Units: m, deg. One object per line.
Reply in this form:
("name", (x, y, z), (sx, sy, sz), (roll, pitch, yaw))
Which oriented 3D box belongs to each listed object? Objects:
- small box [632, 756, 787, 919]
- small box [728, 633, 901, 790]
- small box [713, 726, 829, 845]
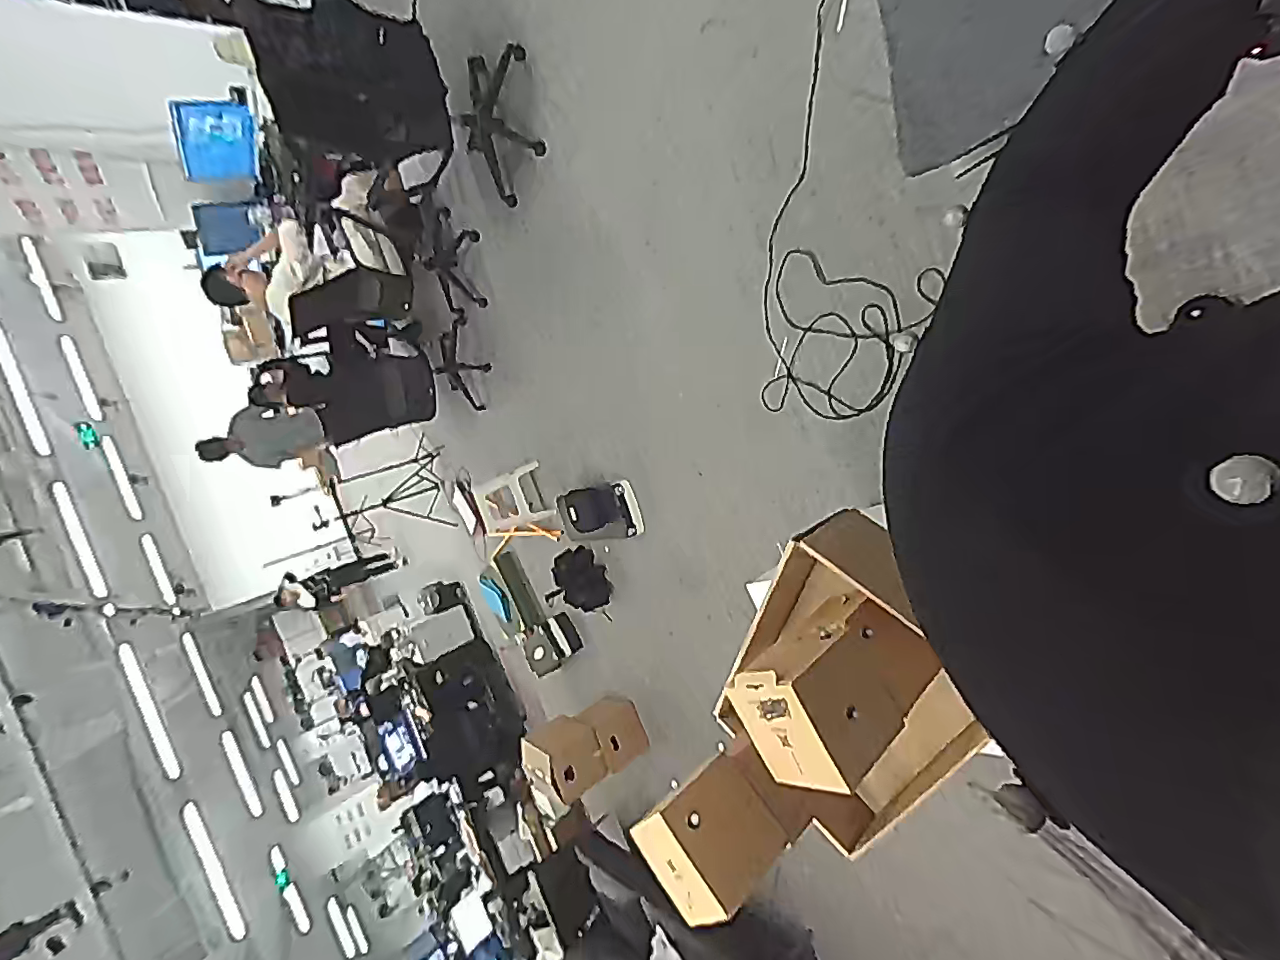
("small box", (0.121, 0.621, 0.956), (0.179, 0.176, 0.168), (49, 140, 22))
("small box", (0.286, 0.367, 0.890), (0.179, 0.176, 0.168), (61, 145, 5))
("small box", (0.244, 0.586, 1.062), (0.168, 0.176, 0.179), (51, 139, 19))
